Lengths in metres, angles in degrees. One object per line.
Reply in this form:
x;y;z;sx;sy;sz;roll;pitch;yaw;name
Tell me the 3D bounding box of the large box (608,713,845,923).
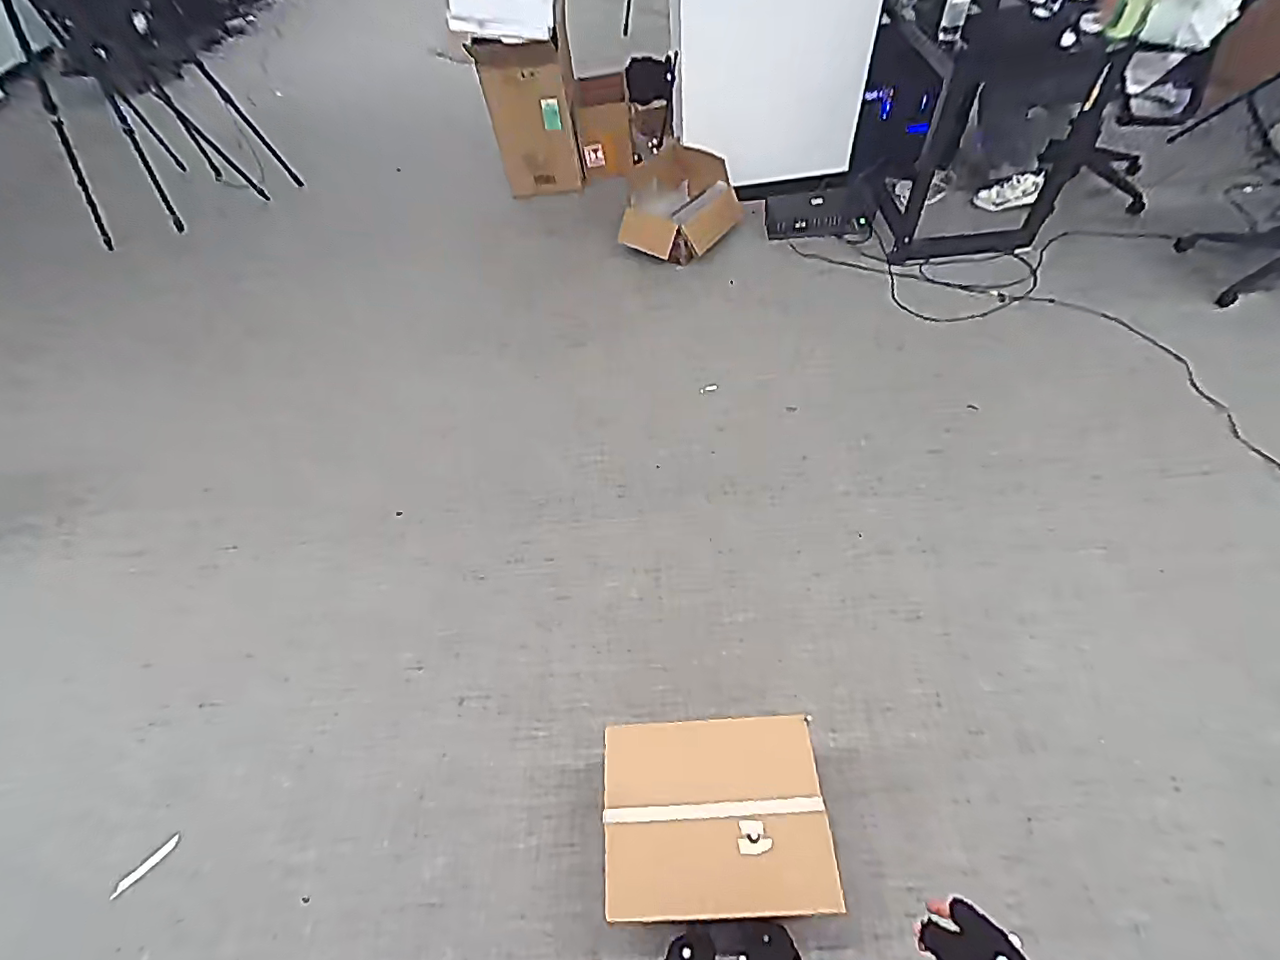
0.150;0.695;1.117;0.408;0.320;0.320;-5;54;2;large box
